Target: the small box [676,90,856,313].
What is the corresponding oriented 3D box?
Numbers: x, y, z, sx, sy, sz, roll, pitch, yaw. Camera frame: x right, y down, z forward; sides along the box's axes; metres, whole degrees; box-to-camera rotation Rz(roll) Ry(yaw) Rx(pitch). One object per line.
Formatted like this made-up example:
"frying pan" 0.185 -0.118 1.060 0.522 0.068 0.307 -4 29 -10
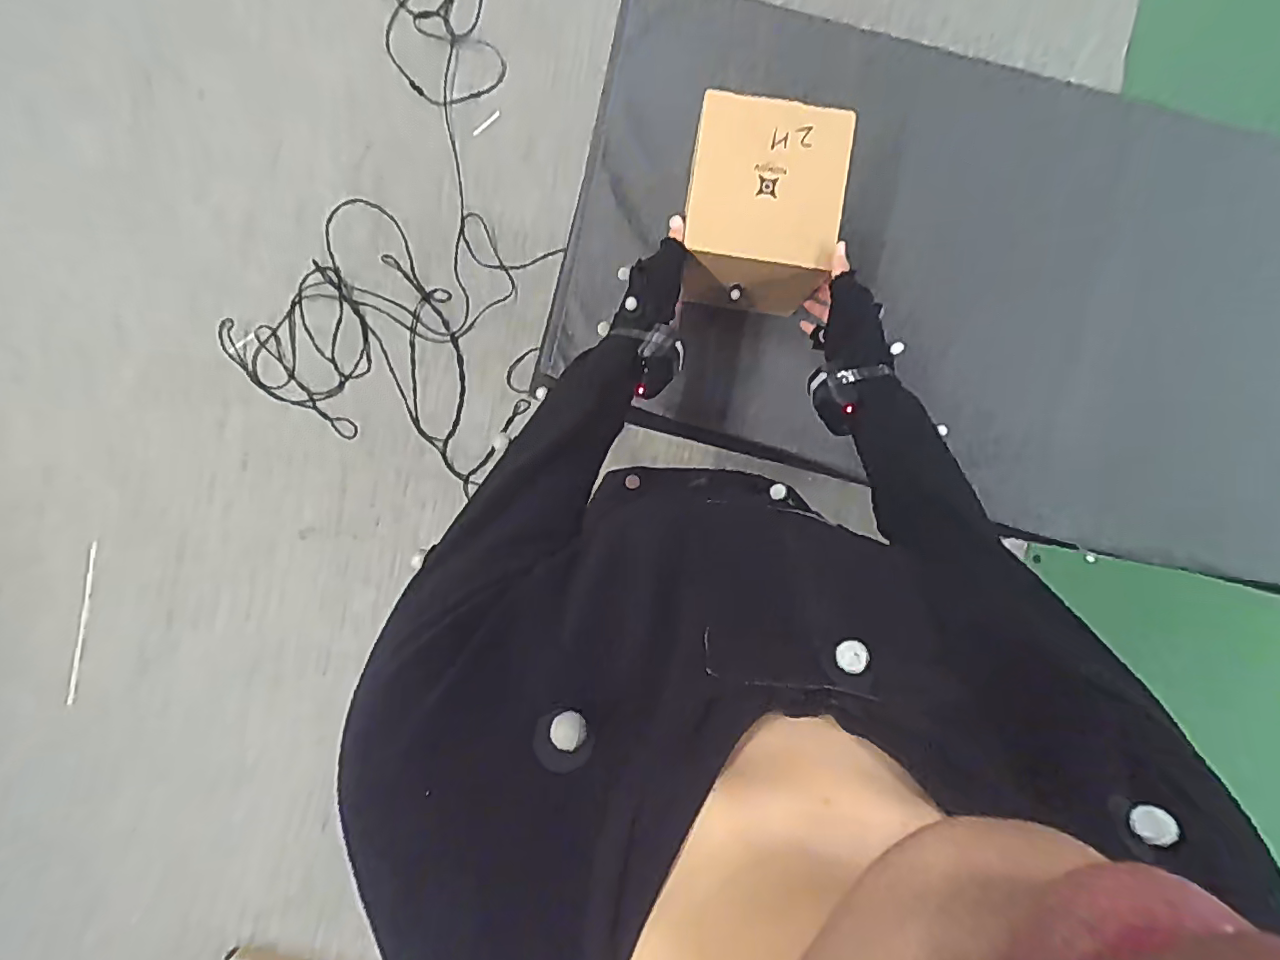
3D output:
"small box" 0.139 -0.320 0.658 0.168 0.176 0.179 9 89 0
